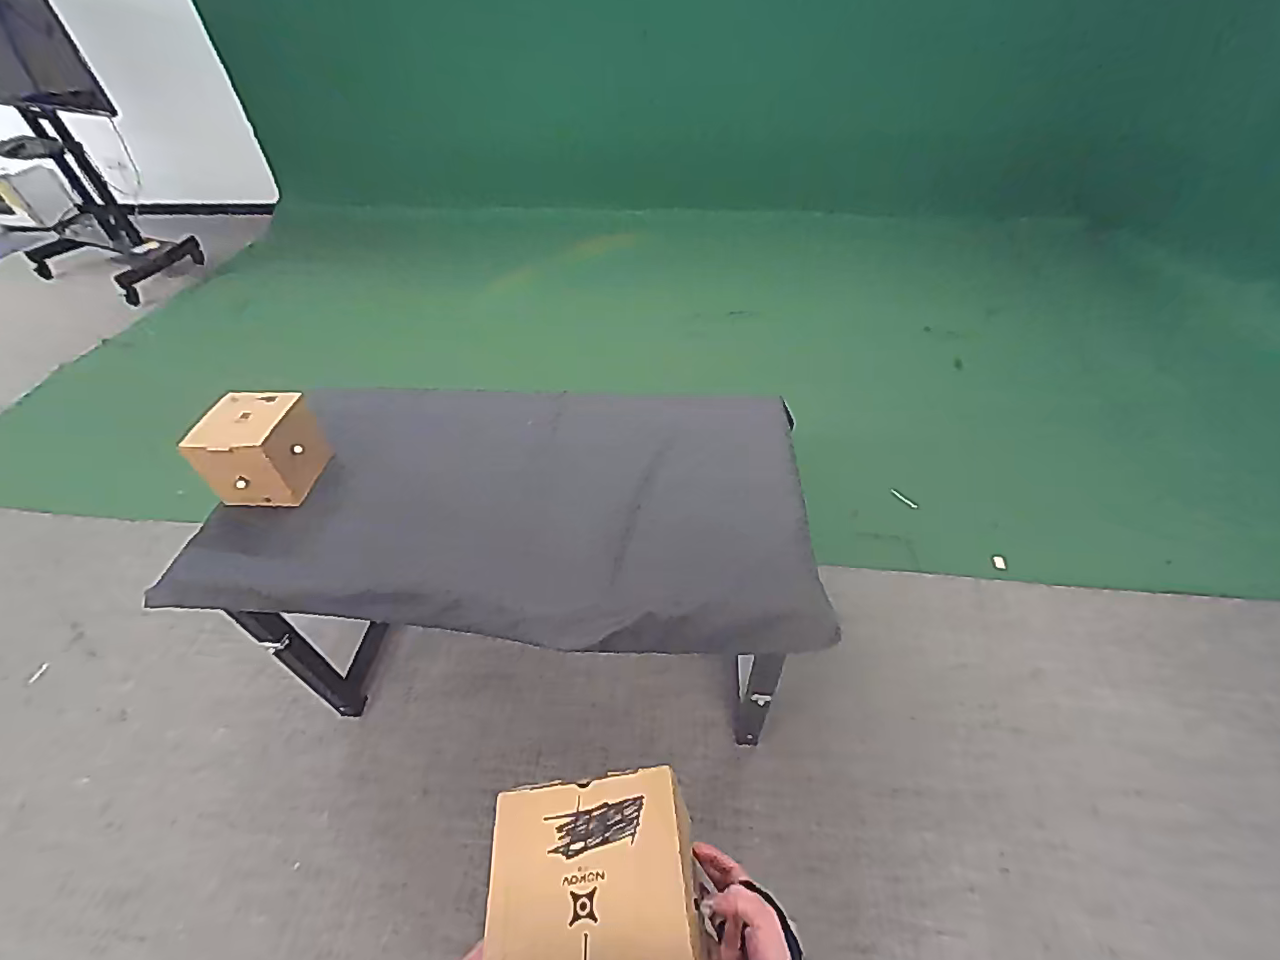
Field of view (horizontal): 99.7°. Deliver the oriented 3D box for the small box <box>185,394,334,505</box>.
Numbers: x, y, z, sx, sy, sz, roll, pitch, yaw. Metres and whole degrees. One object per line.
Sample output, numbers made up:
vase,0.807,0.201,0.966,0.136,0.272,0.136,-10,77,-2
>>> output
small box,-0.785,-0.063,1.143,0.168,0.176,0.179,1,46,2
